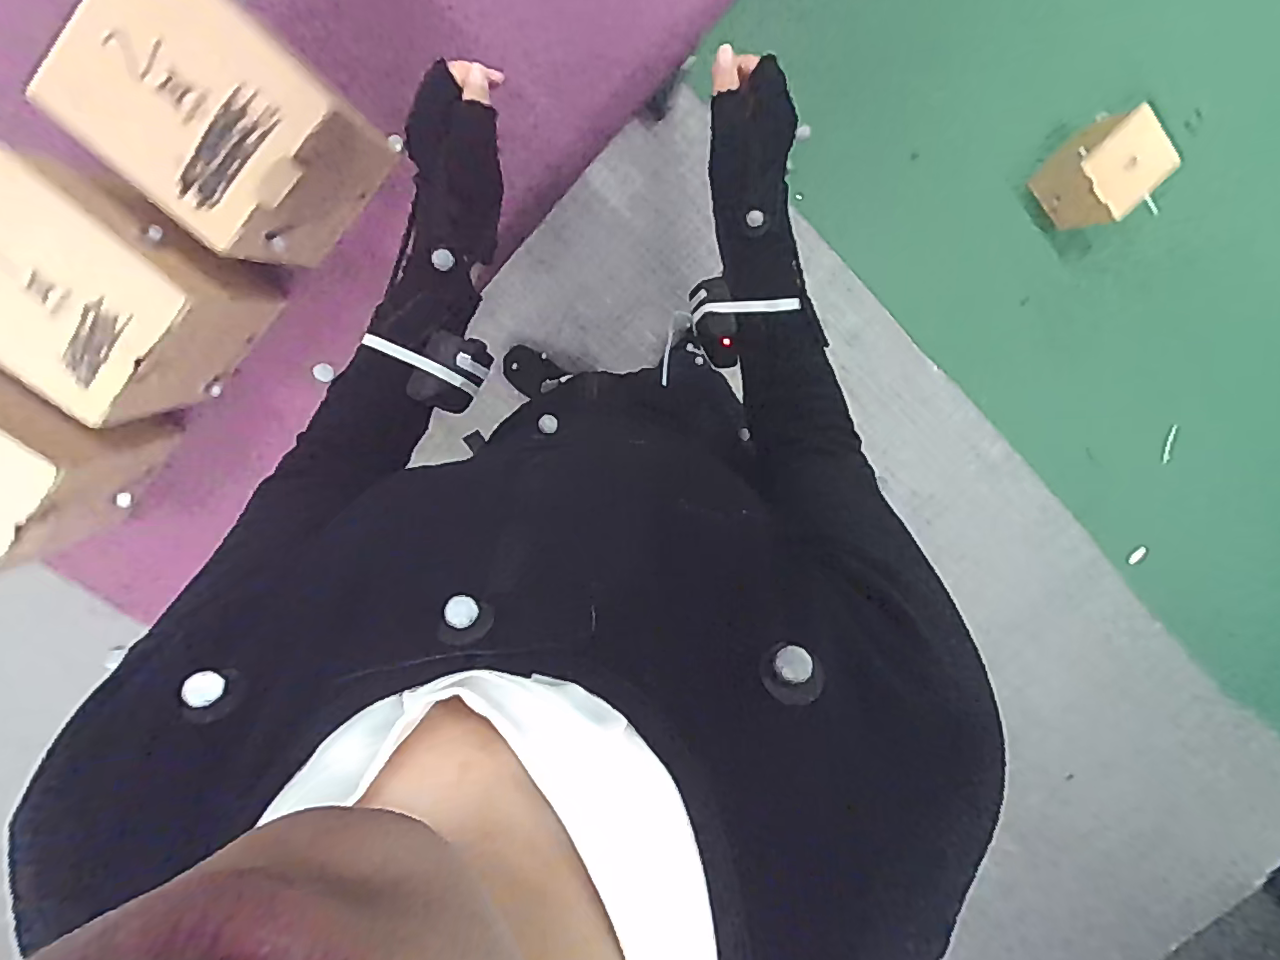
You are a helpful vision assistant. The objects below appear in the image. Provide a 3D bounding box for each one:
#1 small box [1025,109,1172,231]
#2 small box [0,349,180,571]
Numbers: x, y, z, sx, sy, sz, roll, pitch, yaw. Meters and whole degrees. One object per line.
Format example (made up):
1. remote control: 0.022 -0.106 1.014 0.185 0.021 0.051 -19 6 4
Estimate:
1. small box: 1.091 -0.732 1.300 0.168 0.176 0.179 41 100 -15
2. small box: -0.680 -0.028 0.592 0.179 0.176 0.168 41 100 -15
